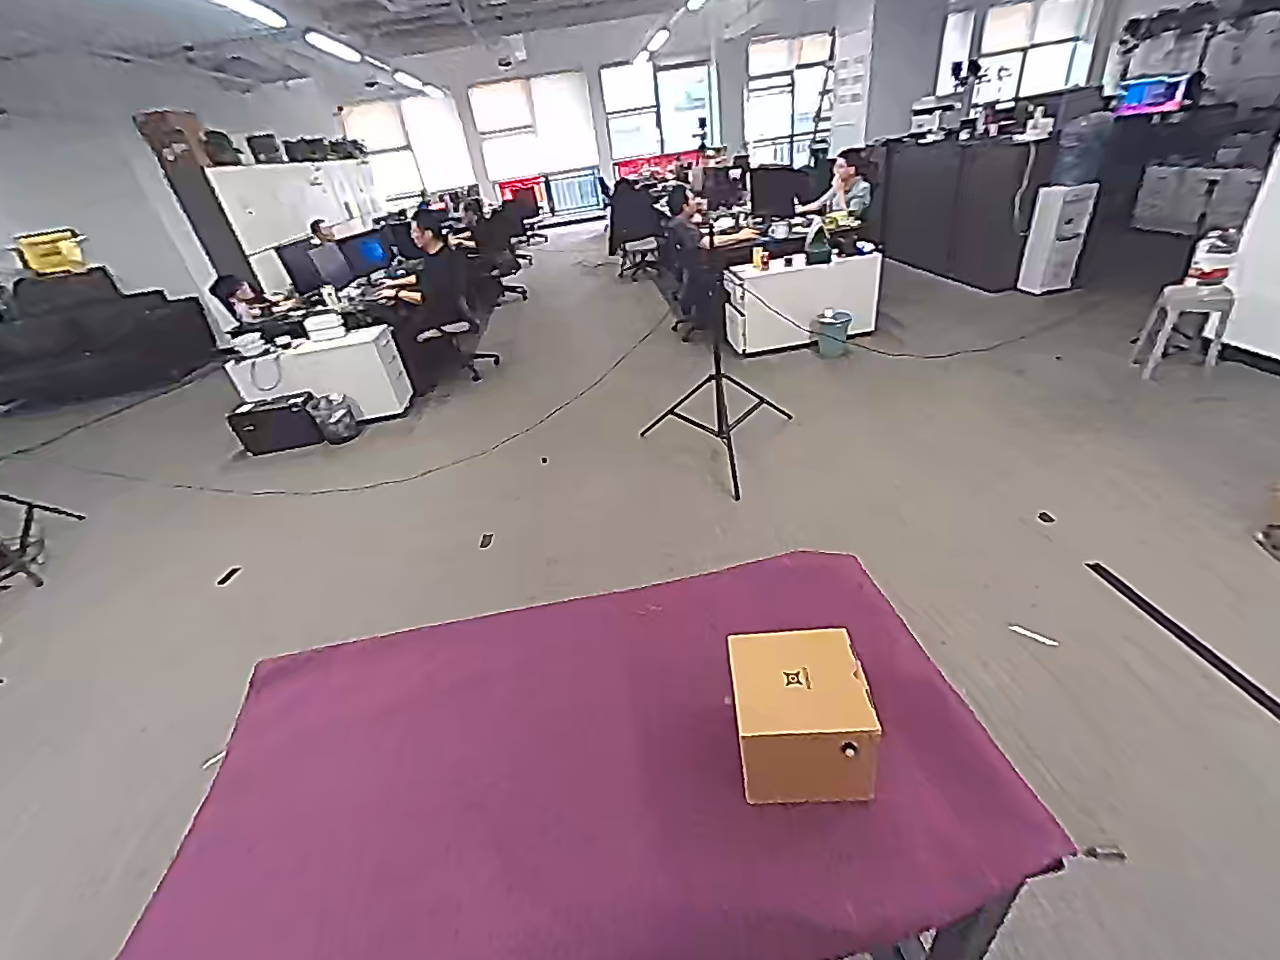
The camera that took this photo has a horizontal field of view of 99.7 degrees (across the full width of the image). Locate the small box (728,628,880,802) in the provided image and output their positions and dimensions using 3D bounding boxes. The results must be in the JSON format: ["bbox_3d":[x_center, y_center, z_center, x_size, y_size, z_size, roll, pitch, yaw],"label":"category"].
[{"bbox_3d":[0.228,0.340,0.781,0.179,0.176,0.168,-6,32,6],"label":"small box"}]
